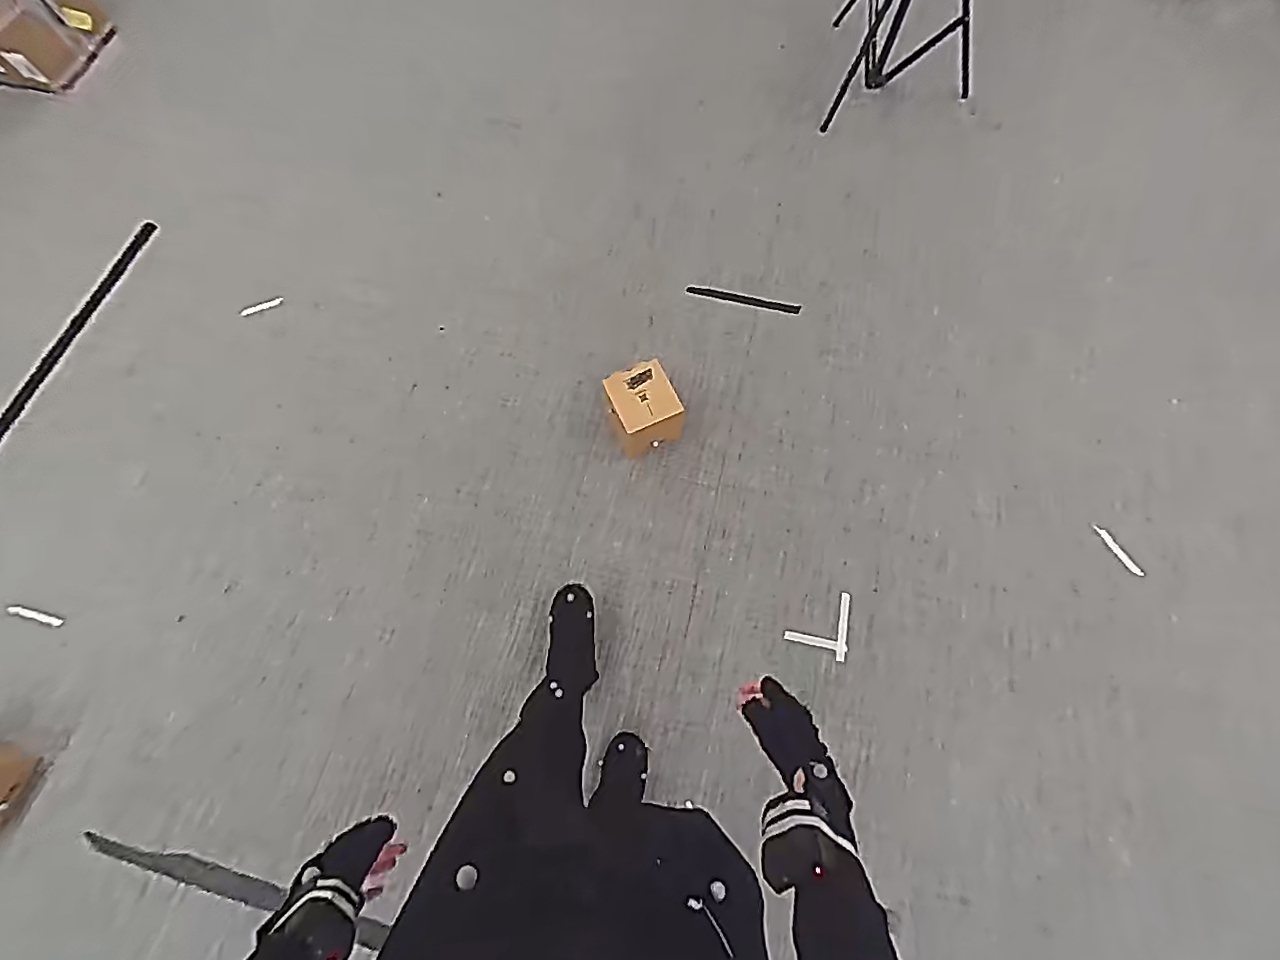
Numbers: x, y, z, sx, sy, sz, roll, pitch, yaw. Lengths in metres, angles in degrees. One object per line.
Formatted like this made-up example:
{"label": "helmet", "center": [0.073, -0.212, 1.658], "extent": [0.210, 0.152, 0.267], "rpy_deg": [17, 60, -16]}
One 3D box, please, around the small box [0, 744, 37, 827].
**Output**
{"label": "small box", "center": [-1.513, 0.678, 1.176], "extent": [0.179, 0.176, 0.168], "rpy_deg": [14, 71, 4]}

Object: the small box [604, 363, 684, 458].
{"label": "small box", "center": [0.008, -0.188, 1.507], "extent": [0.168, 0.176, 0.179], "rpy_deg": [-24, 73, -8]}
